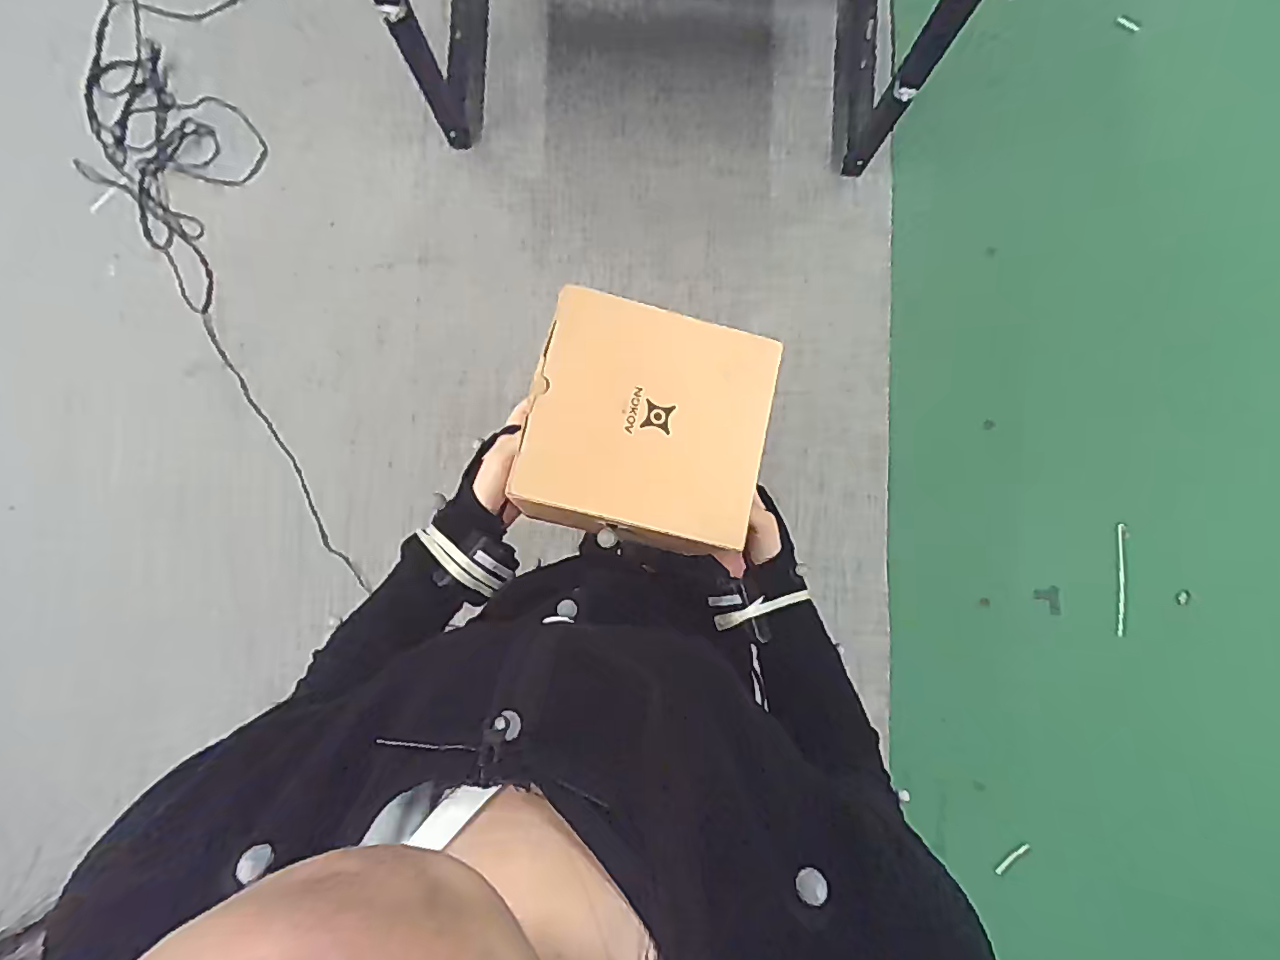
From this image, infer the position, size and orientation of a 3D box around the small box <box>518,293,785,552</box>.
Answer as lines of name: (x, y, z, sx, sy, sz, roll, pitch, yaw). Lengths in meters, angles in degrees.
small box: (0.005, -0.035, 0.486, 0.179, 0.176, 0.168, 14, 80, -4)
